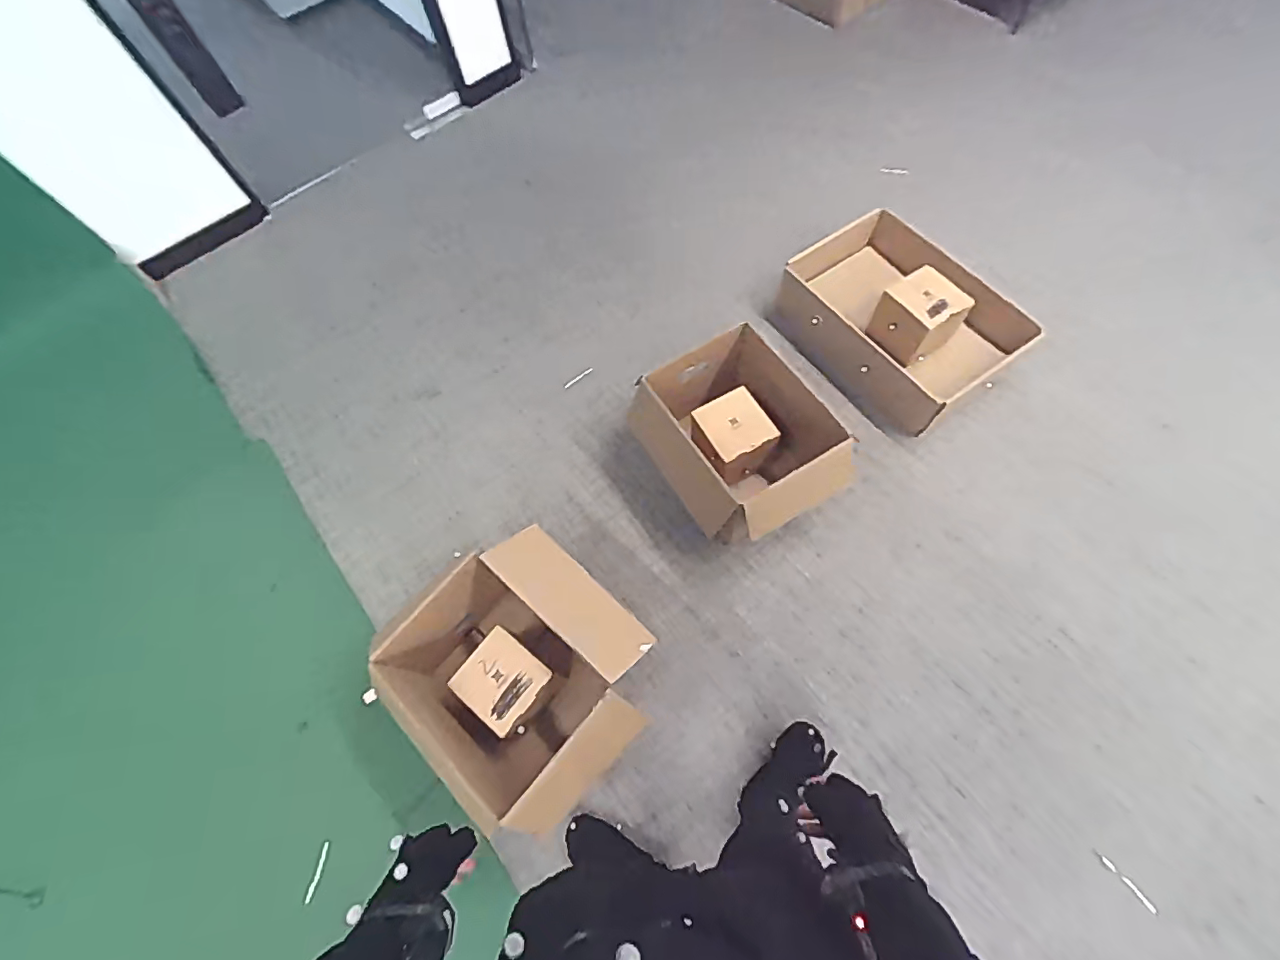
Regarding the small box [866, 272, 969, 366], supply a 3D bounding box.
[{"bbox_3d":[0.787,-0.452,1.553,0.168,0.176,0.179,-31,65,-10],"label":"small box"}]
